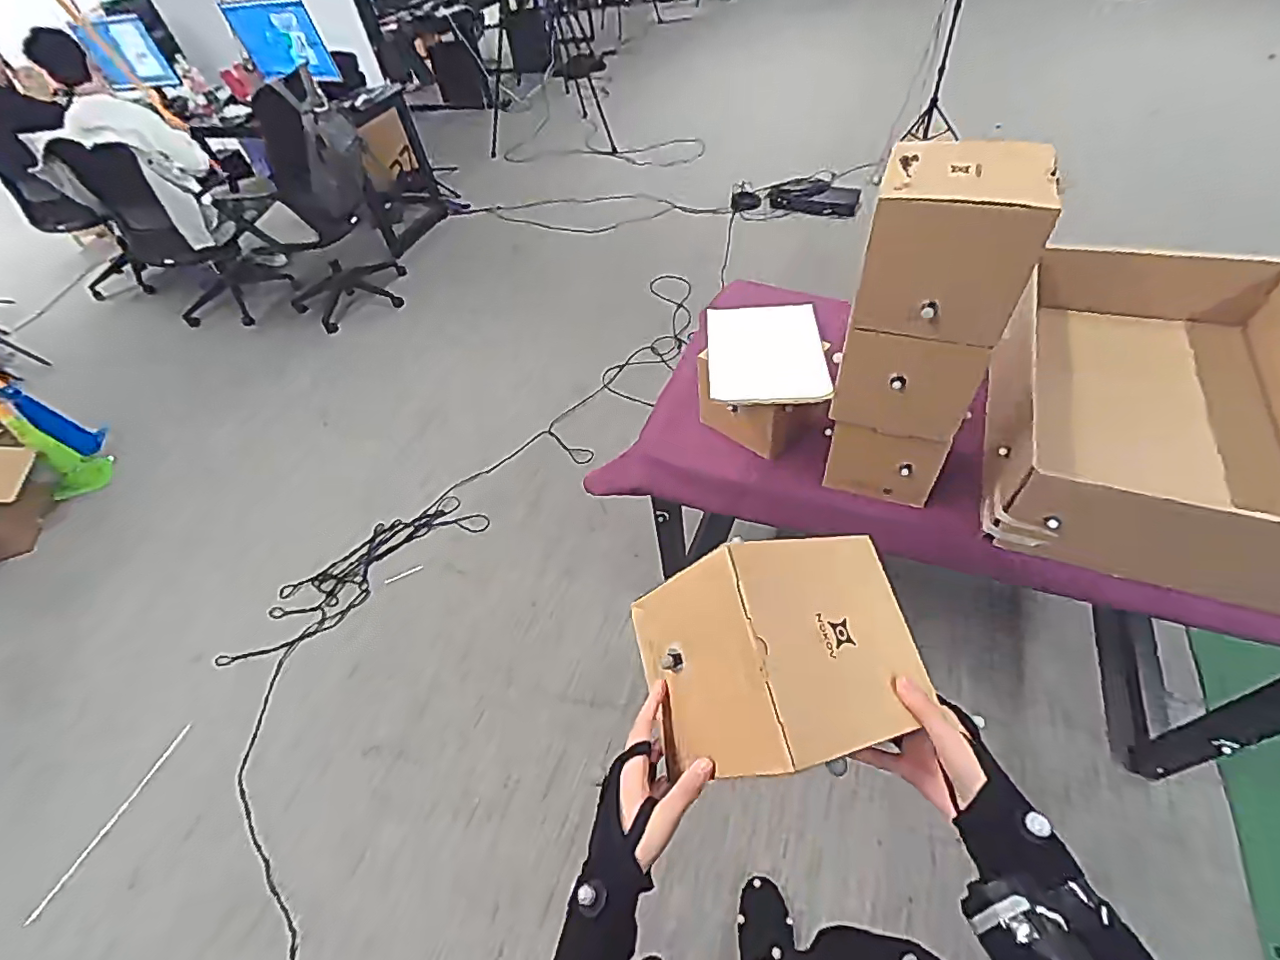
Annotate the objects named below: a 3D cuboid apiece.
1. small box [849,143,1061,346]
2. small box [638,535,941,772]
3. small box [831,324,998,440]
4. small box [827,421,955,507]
[{"bbox_3d":[0.375,-0.287,0.665,0.179,0.176,0.168,15,52,19],"label":"small box"},{"bbox_3d":[0.122,0.157,0.496,0.179,0.176,0.168,1,62,-30],"label":"small box"},{"bbox_3d":[0.394,-0.180,0.789,0.179,0.176,0.168,15,53,20],"label":"small box"},{"bbox_3d":[0.423,-0.080,0.915,0.168,0.176,0.179,15,53,20],"label":"small box"}]
